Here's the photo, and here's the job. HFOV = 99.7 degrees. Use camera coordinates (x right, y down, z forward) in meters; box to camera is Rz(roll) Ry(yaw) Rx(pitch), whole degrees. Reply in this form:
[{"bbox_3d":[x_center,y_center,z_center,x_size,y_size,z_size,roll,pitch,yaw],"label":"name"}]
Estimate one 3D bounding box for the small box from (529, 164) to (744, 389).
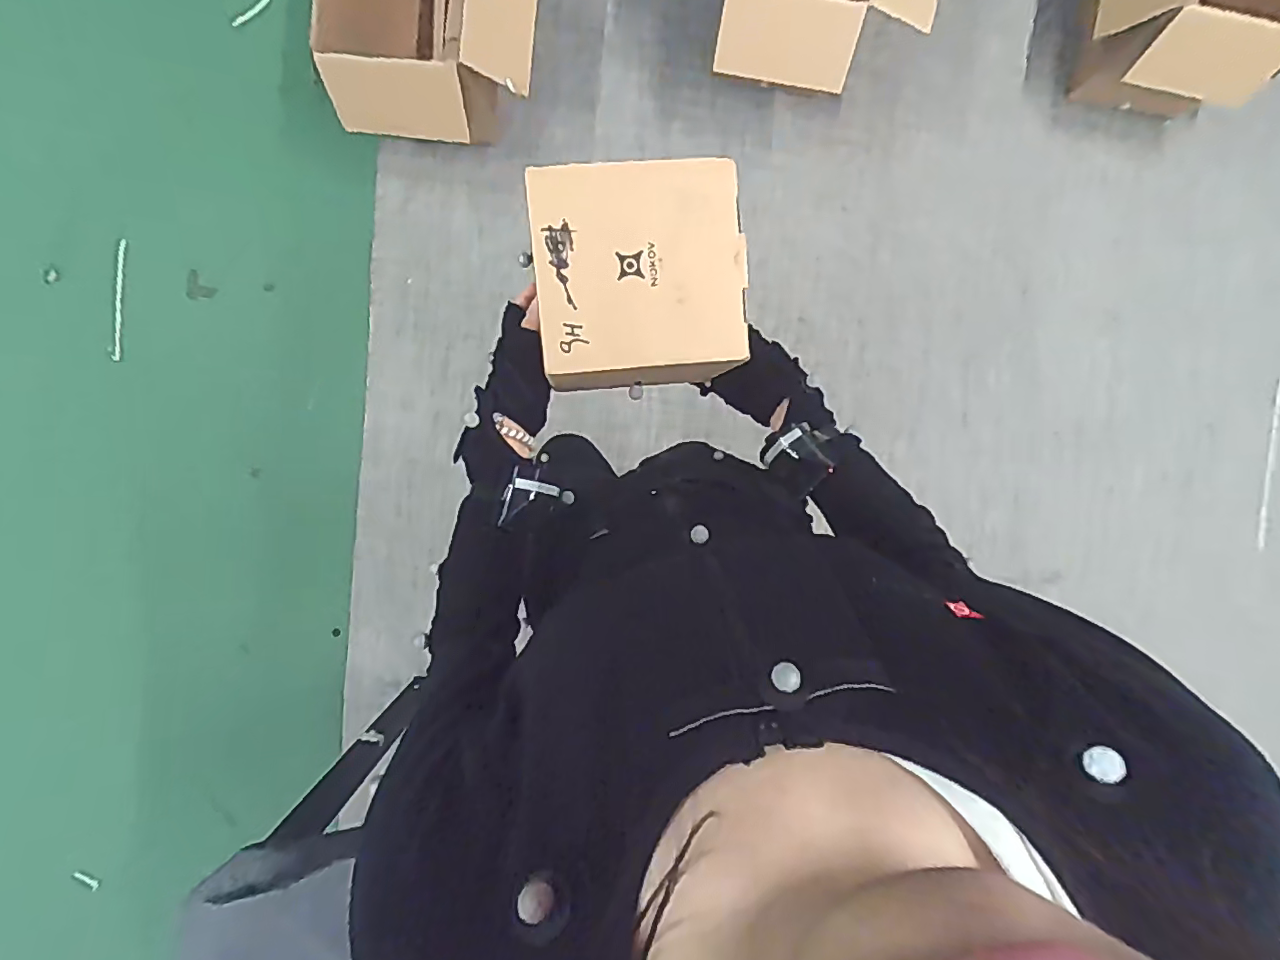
[{"bbox_3d":[-0.010,-0.183,0.530,0.179,0.176,0.168,-5,94,-6],"label":"small box"}]
